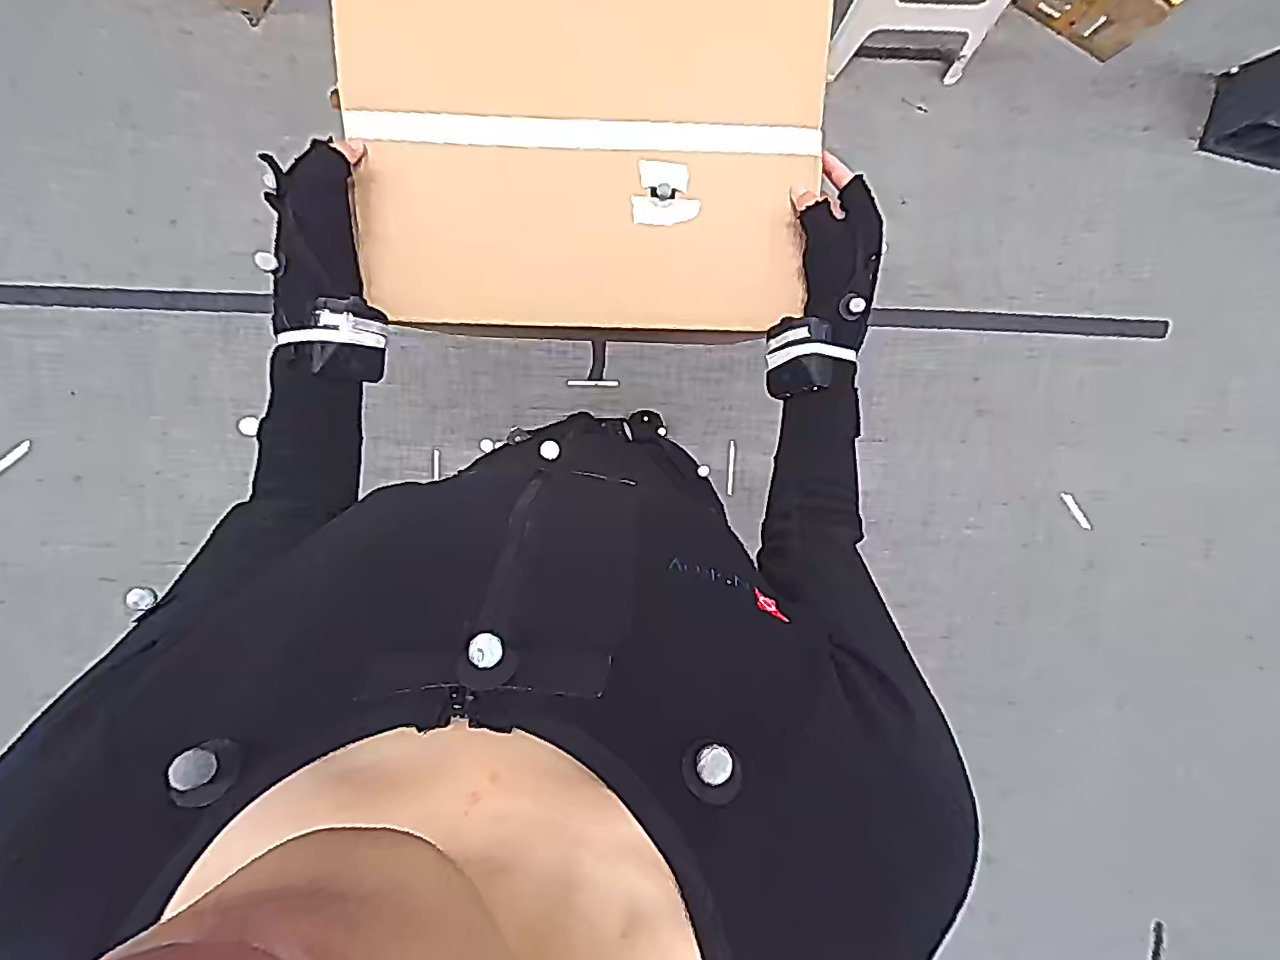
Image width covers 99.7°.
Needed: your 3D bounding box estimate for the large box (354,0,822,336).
[{"bbox_3d":[-0.051,-0.335,0.626,0.408,0.320,0.320,0,103,-3],"label":"large box"}]
